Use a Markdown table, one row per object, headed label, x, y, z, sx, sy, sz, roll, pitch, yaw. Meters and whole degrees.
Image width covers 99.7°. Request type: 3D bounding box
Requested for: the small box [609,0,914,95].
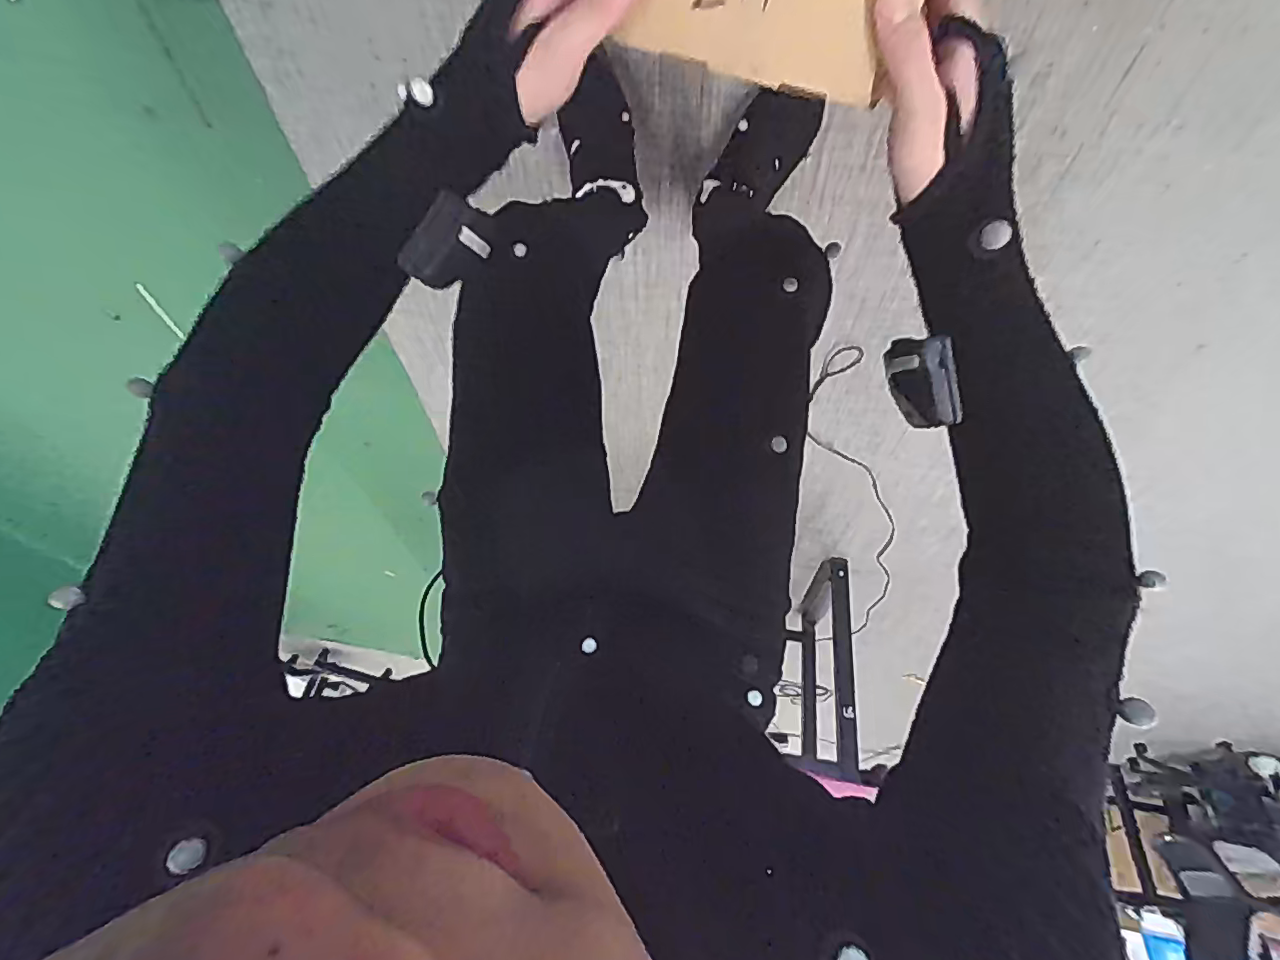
| label | x | y | z | sx | sy | sz | roll | pitch | yaw |
| --- | --- | --- | --- | --- | --- | --- | --- | --- | --- |
| small box | 0.087 | -0.361 | 0.308 | 0.168 | 0.176 | 0.179 | 14 | 138 | -2 |
